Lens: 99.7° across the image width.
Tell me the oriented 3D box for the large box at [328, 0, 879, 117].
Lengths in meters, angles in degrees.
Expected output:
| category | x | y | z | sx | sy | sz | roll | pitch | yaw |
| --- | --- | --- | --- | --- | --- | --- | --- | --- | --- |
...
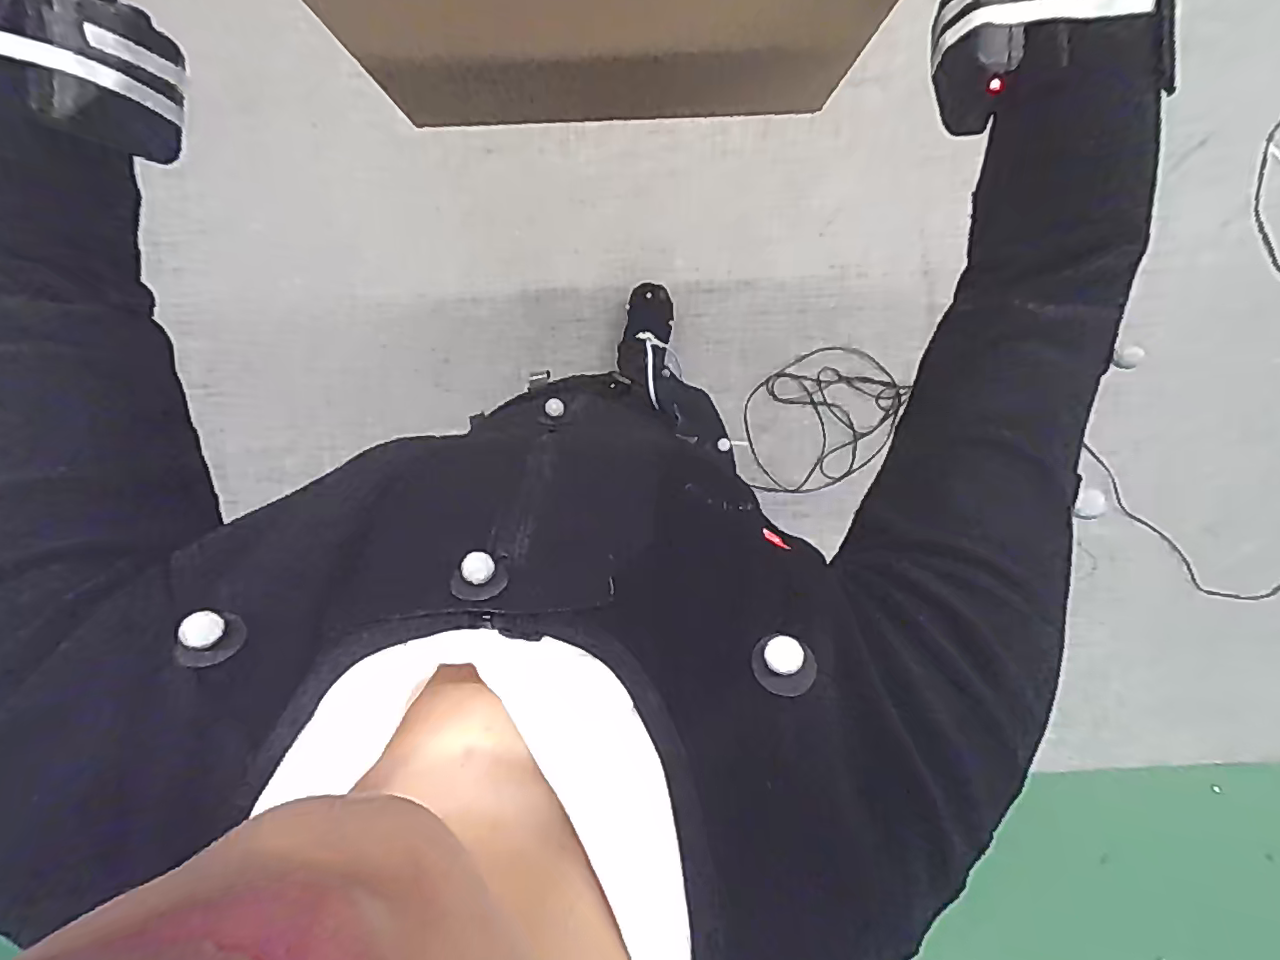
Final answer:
| category | x | y | z | sx | sy | sz | roll | pitch | yaw |
| --- | --- | --- | --- | --- | --- | --- | --- | --- | --- |
| large box | -0.026 | -0.485 | 0.357 | 0.408 | 0.320 | 0.320 | -3 | 102 | -1 |
